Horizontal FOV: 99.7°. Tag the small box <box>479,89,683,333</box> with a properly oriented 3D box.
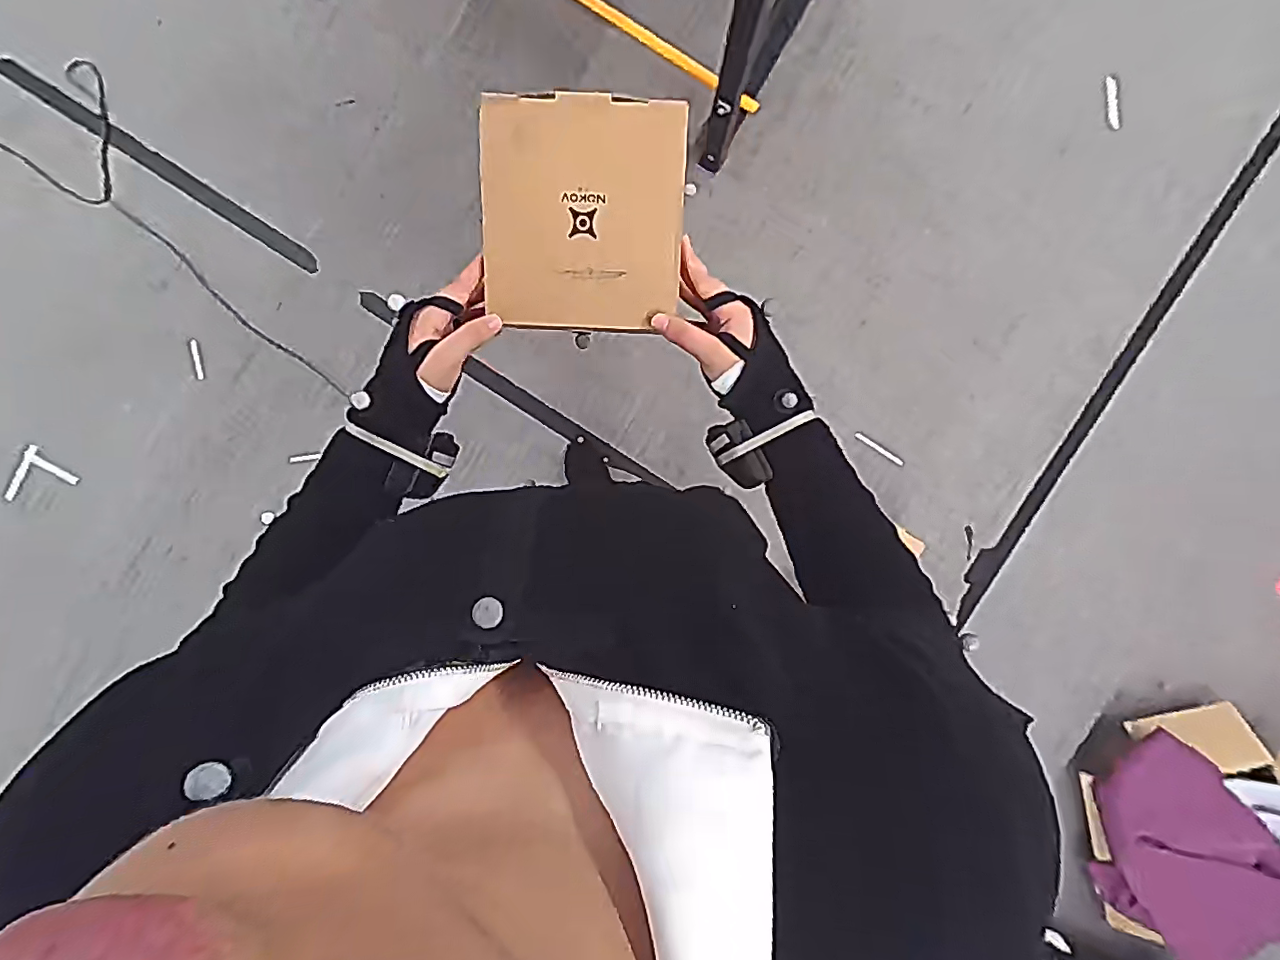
[{"bbox_3d":[-0.052,-0.240,0.526,0.168,0.176,0.179,2,104,-1],"label":"small box"}]
